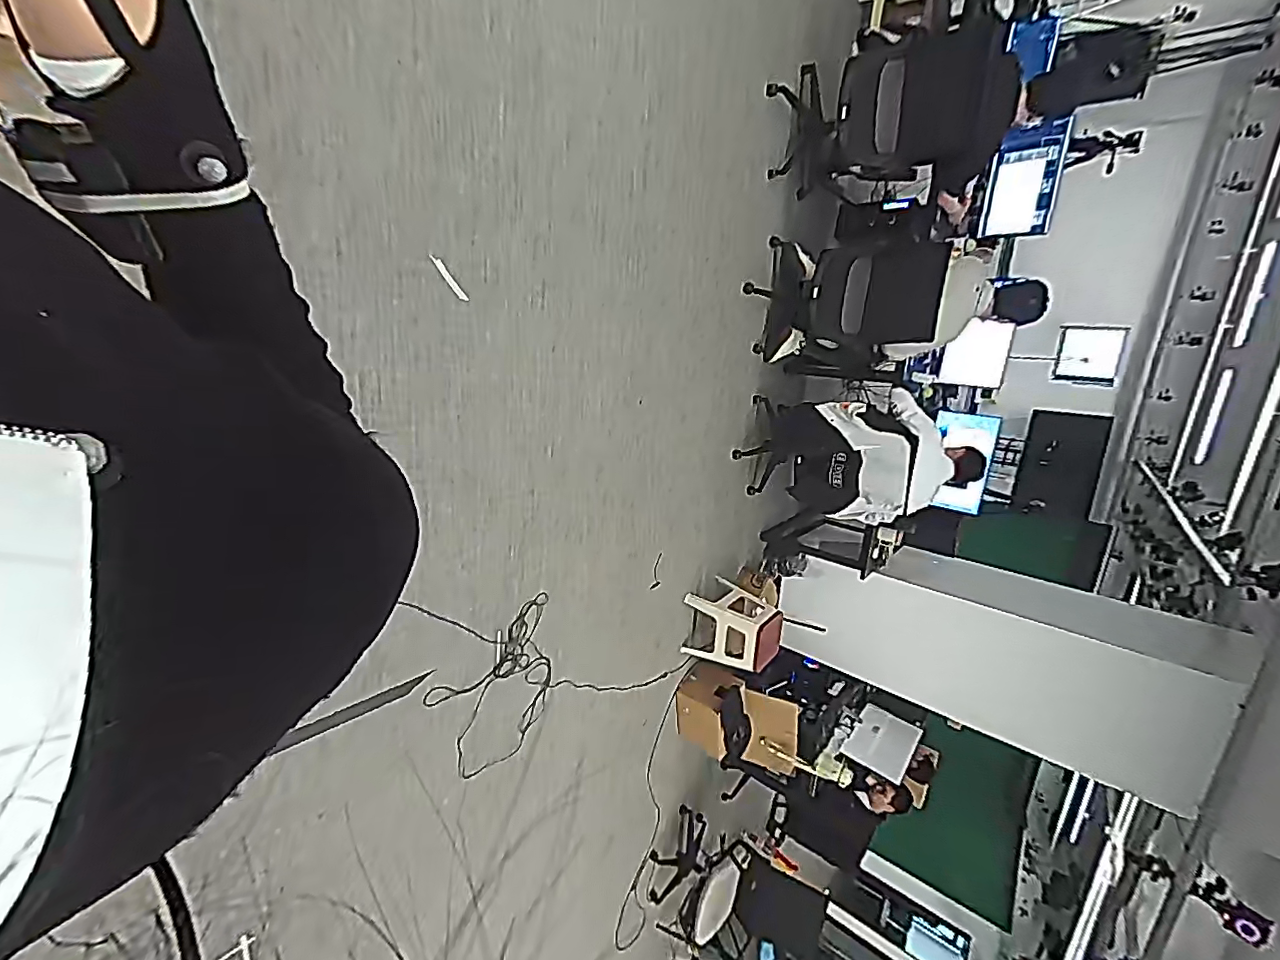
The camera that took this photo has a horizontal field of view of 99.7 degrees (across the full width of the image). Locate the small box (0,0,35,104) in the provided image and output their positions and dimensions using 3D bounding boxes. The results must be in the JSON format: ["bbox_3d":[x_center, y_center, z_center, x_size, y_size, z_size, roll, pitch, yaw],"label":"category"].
[{"bbox_3d":[-0.730,-0.490,0.517,0.179,0.176,0.168,-9,110,-53],"label":"small box"}]

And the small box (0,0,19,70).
[{"bbox_3d":[-0.610,-0.450,0.410,0.168,0.176,0.179,-3,106,-55],"label":"small box"}]
